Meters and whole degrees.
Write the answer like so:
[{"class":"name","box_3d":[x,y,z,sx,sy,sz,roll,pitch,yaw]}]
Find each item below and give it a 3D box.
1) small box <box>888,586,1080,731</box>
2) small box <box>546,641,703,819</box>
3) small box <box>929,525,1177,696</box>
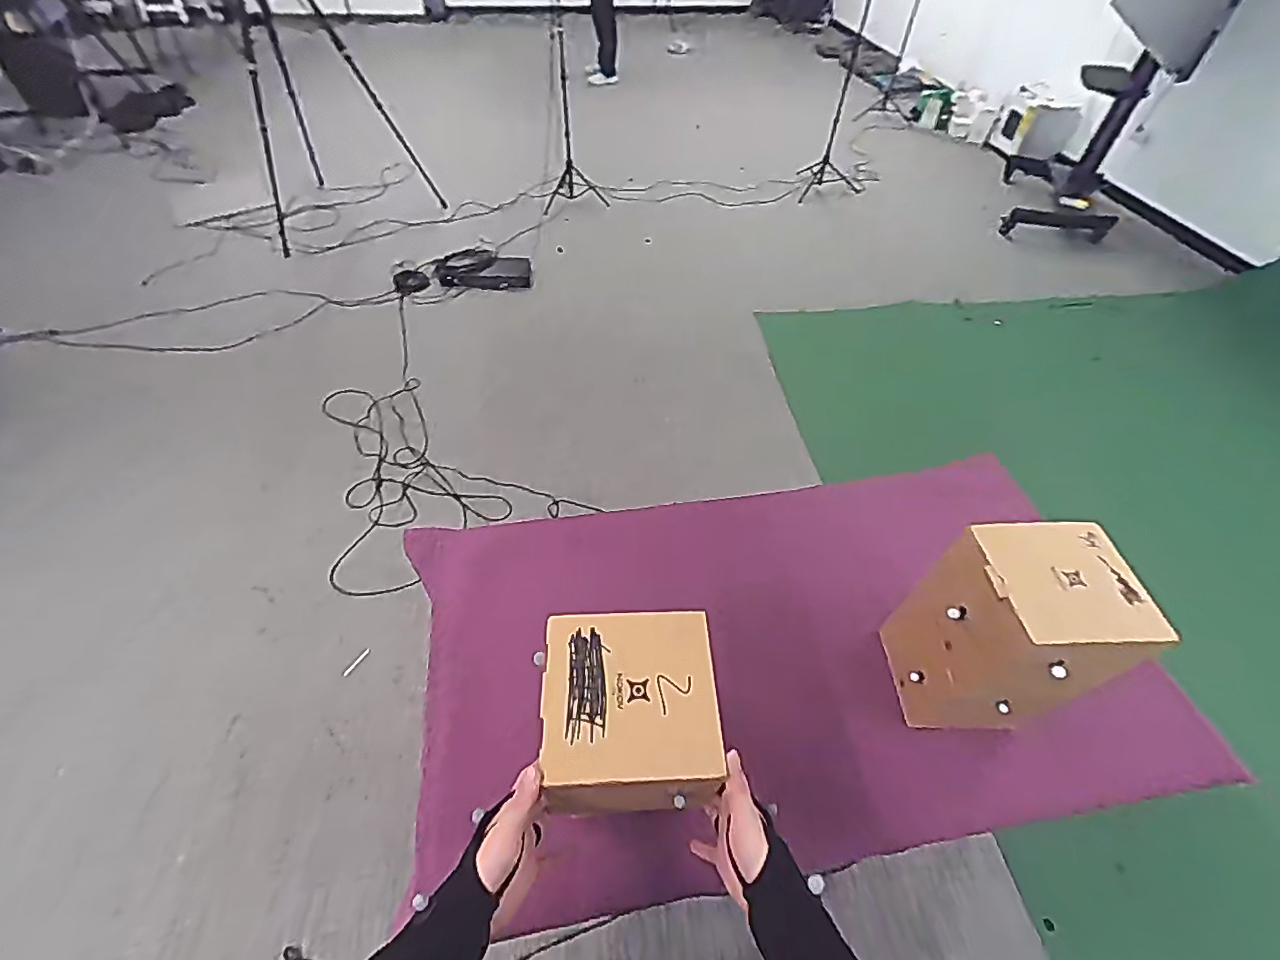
[{"class":"small box","box_3d":[0.507,0.279,0.838,0.179,0.176,0.168,2,50,-1]},{"class":"small box","box_3d":[-0.027,0.351,0.757,0.179,0.176,0.168,-11,51,-10]},{"class":"small box","box_3d":[0.512,0.175,0.712,0.179,0.176,0.168,-1,51,-2]}]
